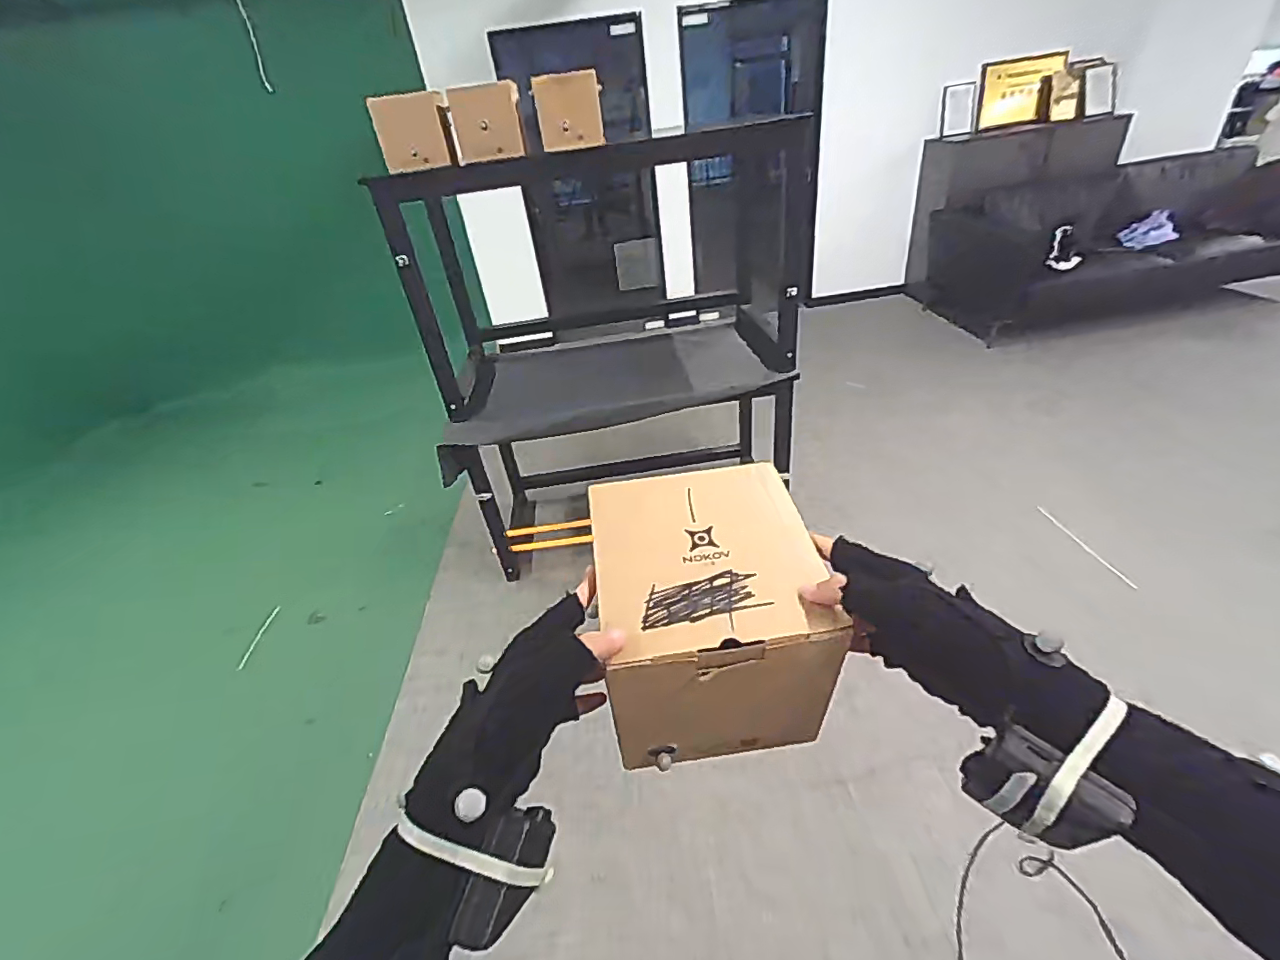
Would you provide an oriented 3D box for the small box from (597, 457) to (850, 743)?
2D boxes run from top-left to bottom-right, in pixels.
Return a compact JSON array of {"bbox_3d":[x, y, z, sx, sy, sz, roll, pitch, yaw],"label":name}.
[{"bbox_3d":[0.058,0.107,0.469,0.168,0.176,0.179,-7,41,-3],"label":"small box"}]
